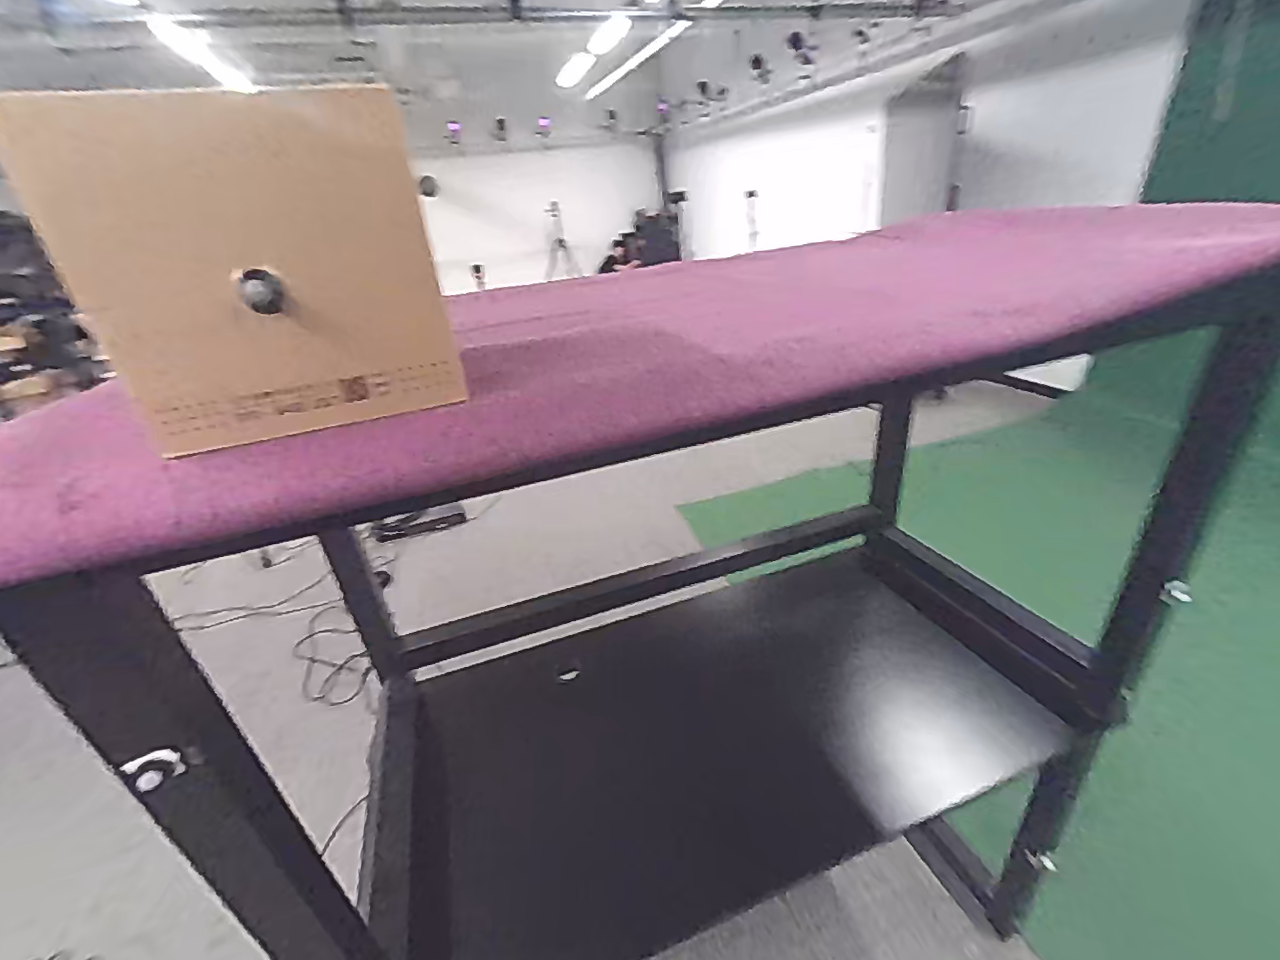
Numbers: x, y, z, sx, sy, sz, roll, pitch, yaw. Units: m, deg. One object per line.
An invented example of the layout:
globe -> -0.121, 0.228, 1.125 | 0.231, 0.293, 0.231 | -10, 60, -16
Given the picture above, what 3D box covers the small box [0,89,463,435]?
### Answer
small box -> -0.223, -0.138, 0.357 | 0.168, 0.176, 0.179 | -14, 28, -18
